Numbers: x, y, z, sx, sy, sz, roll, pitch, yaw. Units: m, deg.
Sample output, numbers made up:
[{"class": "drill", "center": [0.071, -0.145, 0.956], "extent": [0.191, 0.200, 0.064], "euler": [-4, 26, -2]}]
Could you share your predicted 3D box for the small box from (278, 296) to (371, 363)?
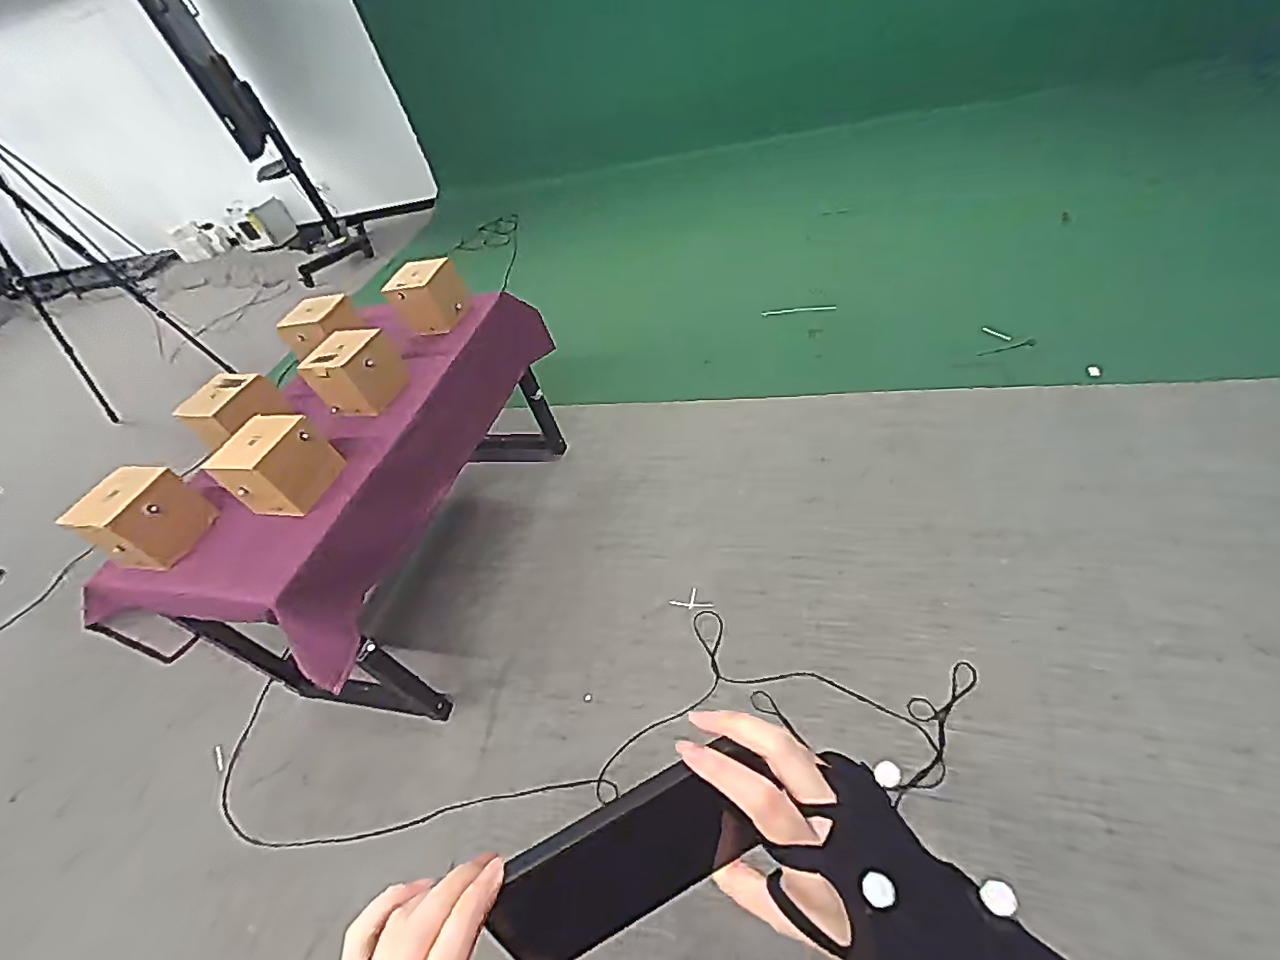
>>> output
[{"class": "small box", "center": [-0.999, -0.467, 1.739], "extent": [0.179, 0.176, 0.168], "euler": [-1, 48, 17]}]

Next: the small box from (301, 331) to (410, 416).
[{"class": "small box", "center": [-0.780, -0.292, 1.504], "extent": [0.168, 0.176, 0.179], "euler": [3, 48, 21]}]

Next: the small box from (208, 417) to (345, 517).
[{"class": "small box", "center": [-0.845, -0.029, 1.278], "extent": [0.168, 0.176, 0.179], "euler": [2, 47, 20]}]

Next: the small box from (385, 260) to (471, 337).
[{"class": "small box", "center": [-0.673, -0.582, 1.743], "extent": [0.168, 0.176, 0.179], "euler": [0, 48, 18]}]
